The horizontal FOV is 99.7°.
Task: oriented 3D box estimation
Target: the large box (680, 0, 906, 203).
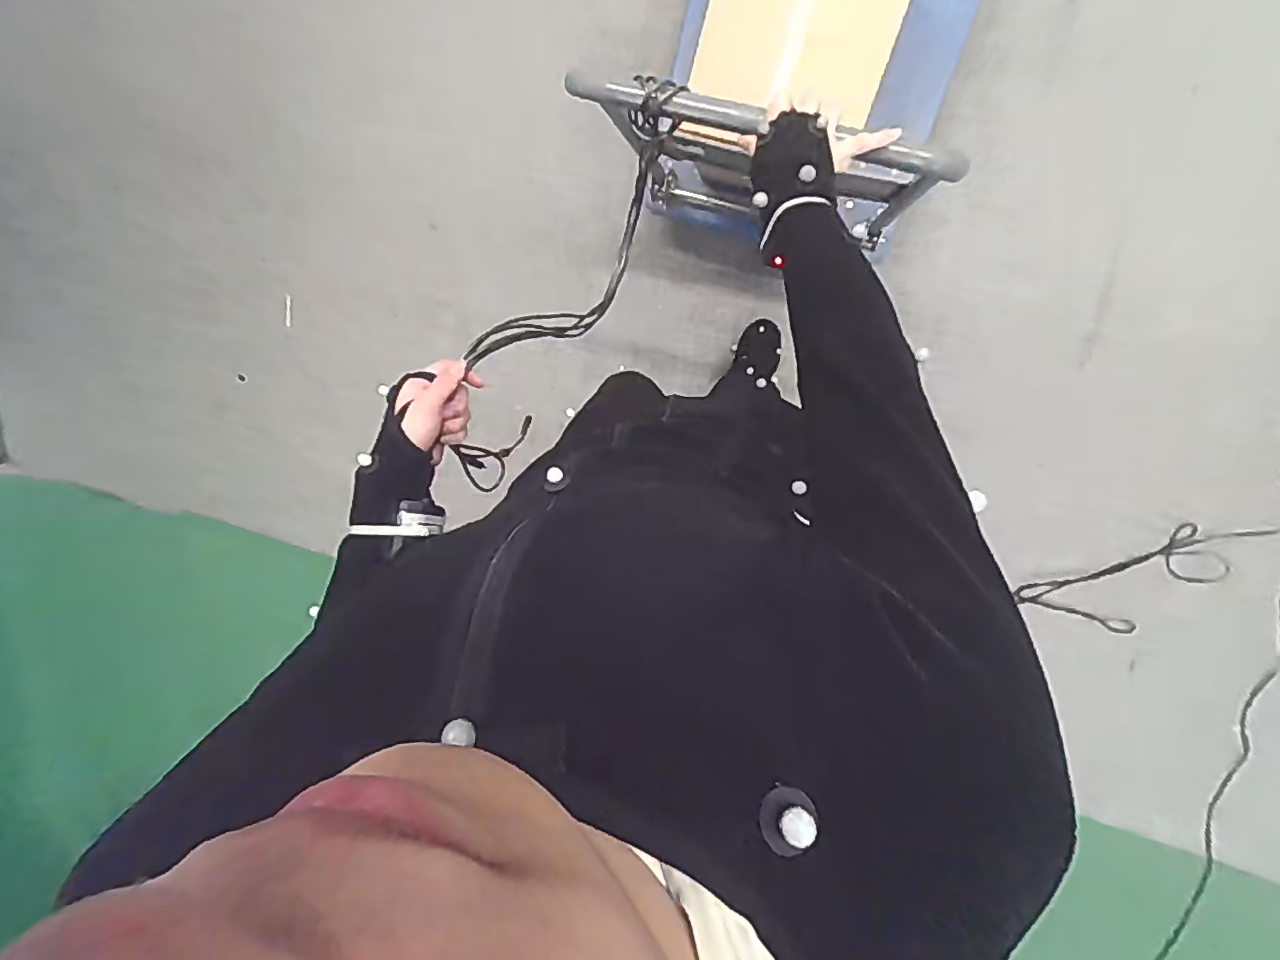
[{"bbox_3d":[0.298,-0.807,1.031,0.320,0.320,0.408,20,108,7],"label":"large box"}]
